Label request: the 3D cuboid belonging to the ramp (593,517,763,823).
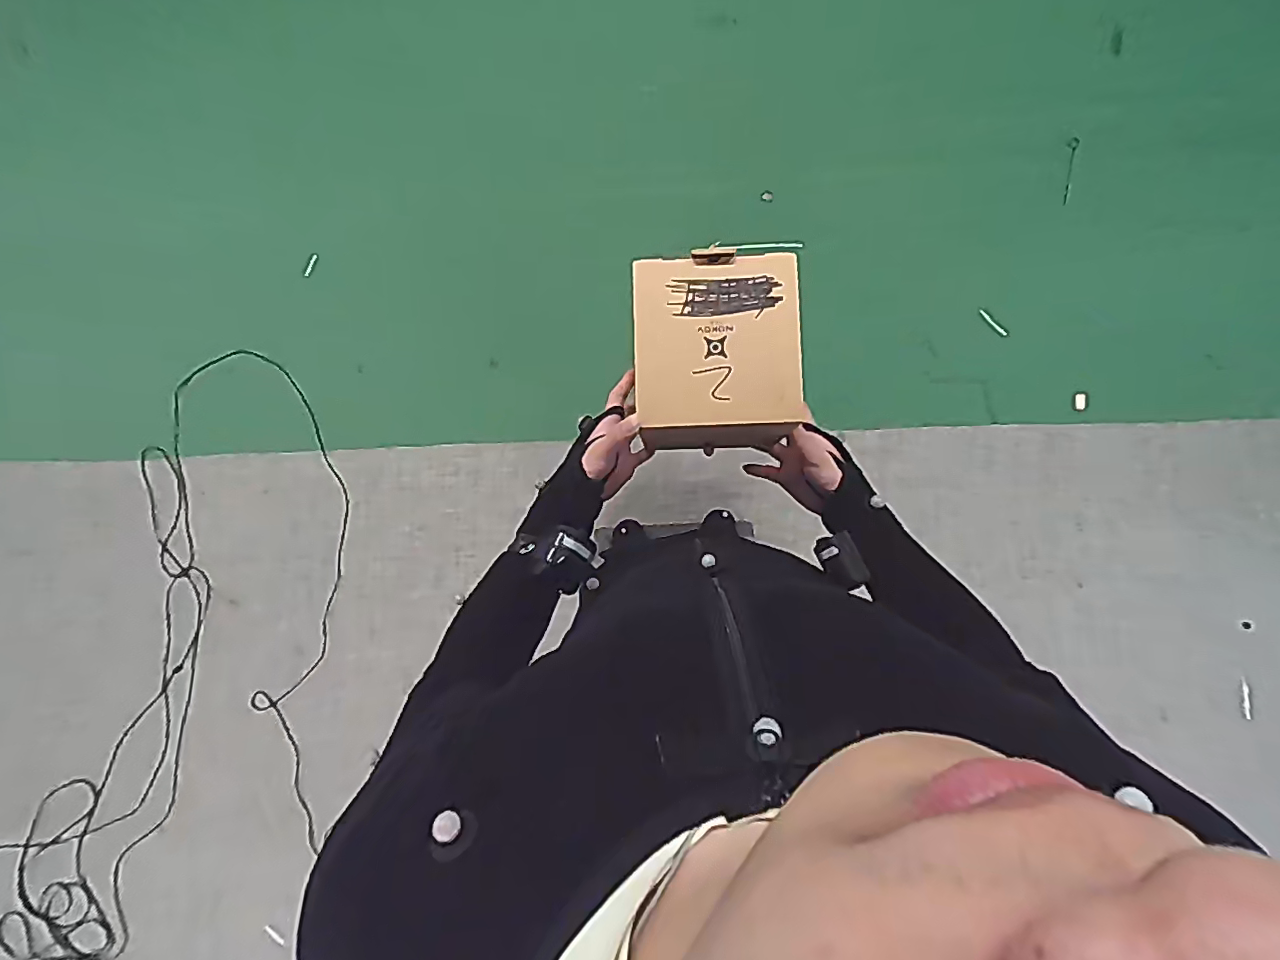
[{"bbox_3d":[0.129,0.613,1.691,0.509,0.206,0.991,-4,87,3],"label":"ramp"}]
